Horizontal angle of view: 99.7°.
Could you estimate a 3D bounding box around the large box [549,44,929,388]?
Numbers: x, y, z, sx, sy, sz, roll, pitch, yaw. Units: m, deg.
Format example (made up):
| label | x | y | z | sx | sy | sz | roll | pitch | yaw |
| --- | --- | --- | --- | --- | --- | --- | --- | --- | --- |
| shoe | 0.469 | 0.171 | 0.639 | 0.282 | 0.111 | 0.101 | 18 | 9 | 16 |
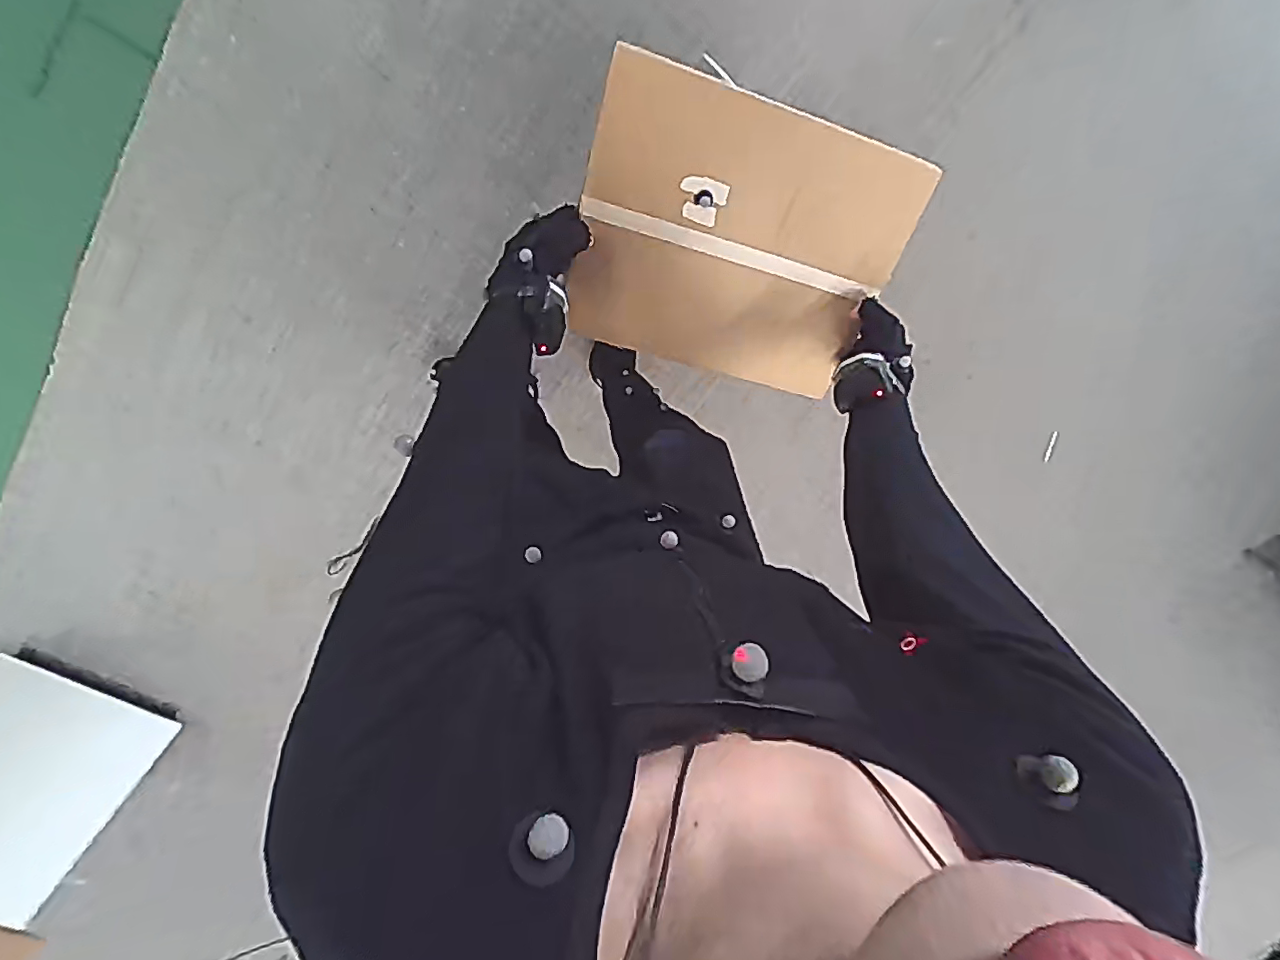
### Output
| label | x | y | z | sx | sy | sz | roll | pitch | yaw |
| --- | --- | --- | --- | --- | --- | --- | --- | --- | --- |
| large box | 0.104 | -0.375 | 0.794 | 0.408 | 0.320 | 0.320 | 12 | 122 | -11 |
